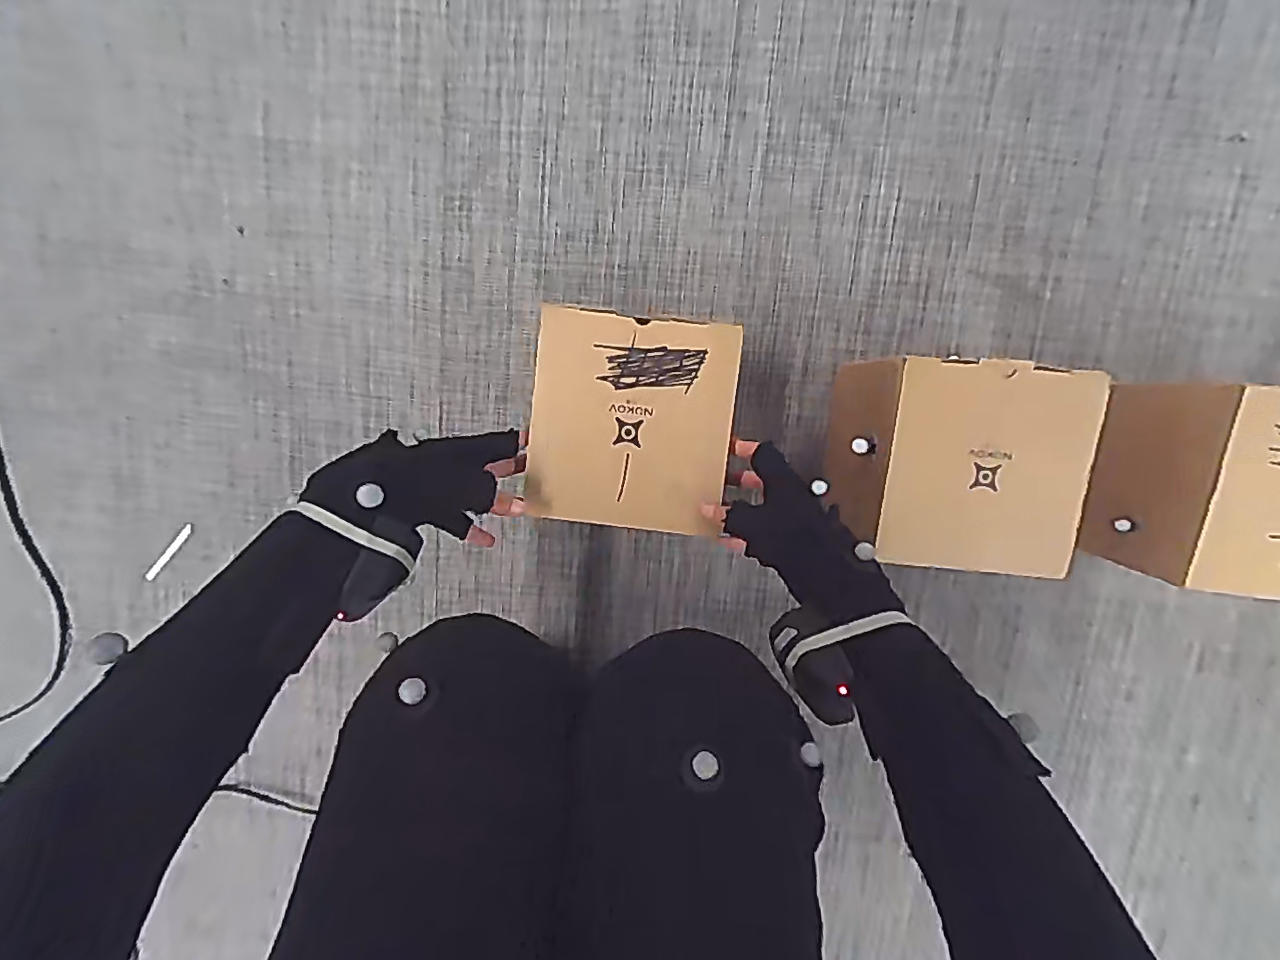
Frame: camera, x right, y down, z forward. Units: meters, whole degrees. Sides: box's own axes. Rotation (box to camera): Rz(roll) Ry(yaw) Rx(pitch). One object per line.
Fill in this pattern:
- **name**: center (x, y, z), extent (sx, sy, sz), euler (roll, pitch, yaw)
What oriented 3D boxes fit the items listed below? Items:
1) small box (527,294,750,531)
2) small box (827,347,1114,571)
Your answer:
- **small box**: center (-0.001, -0.059, 0.518), extent (0.168, 0.176, 0.179), euler (7, 94, 1)
- **small box**: center (0.292, -0.028, 0.523), extent (0.168, 0.176, 0.179), euler (5, 99, 2)
